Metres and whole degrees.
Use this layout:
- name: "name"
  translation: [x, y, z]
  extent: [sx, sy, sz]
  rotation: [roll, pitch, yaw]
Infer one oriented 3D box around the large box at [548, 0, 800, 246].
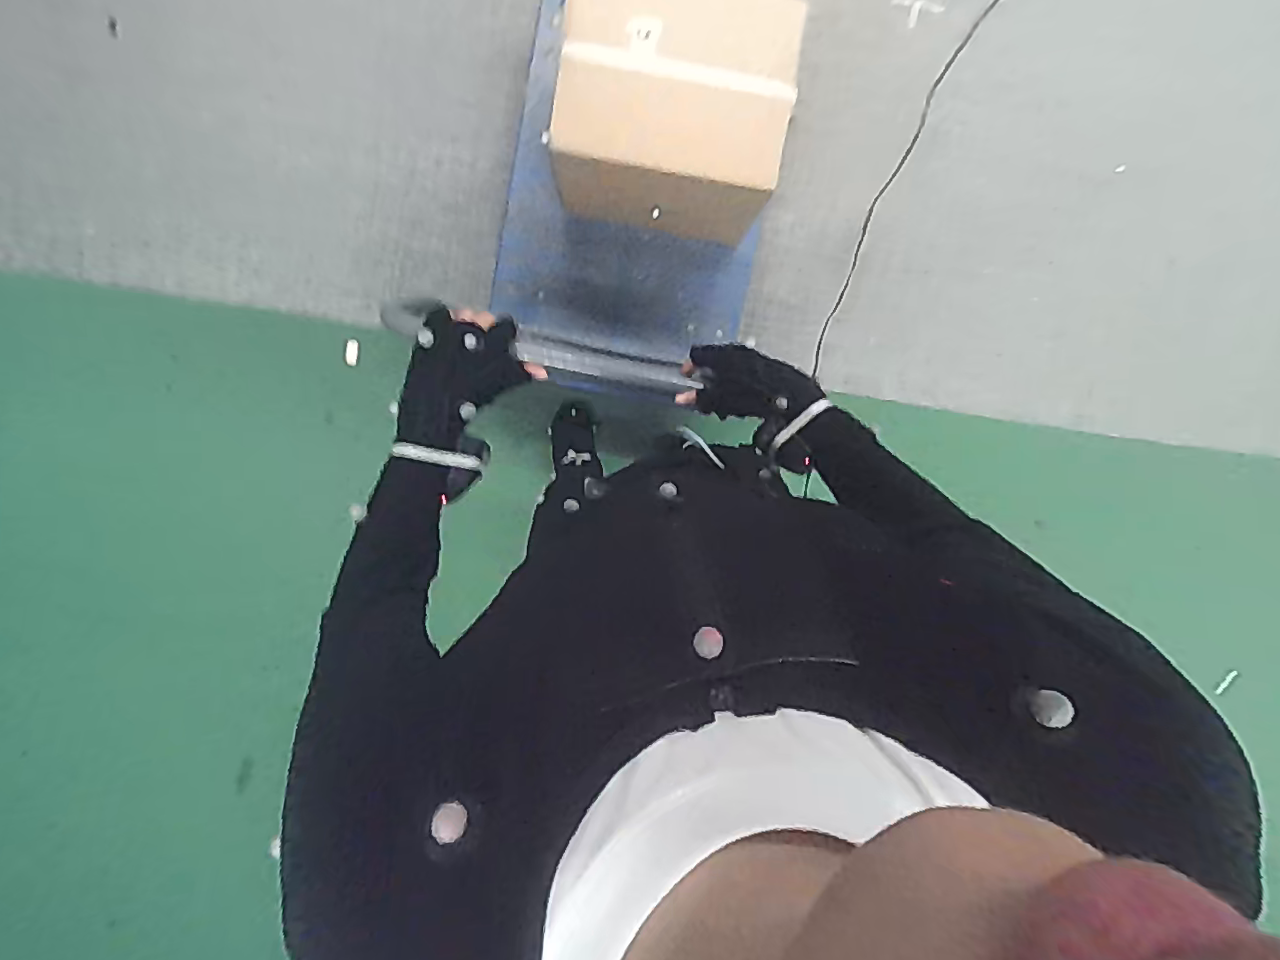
- name: "large box"
  translation: [0.054, -0.695, 1.077]
  extent: [0.408, 0.320, 0.320]
  rotation: [9, 95, -3]
